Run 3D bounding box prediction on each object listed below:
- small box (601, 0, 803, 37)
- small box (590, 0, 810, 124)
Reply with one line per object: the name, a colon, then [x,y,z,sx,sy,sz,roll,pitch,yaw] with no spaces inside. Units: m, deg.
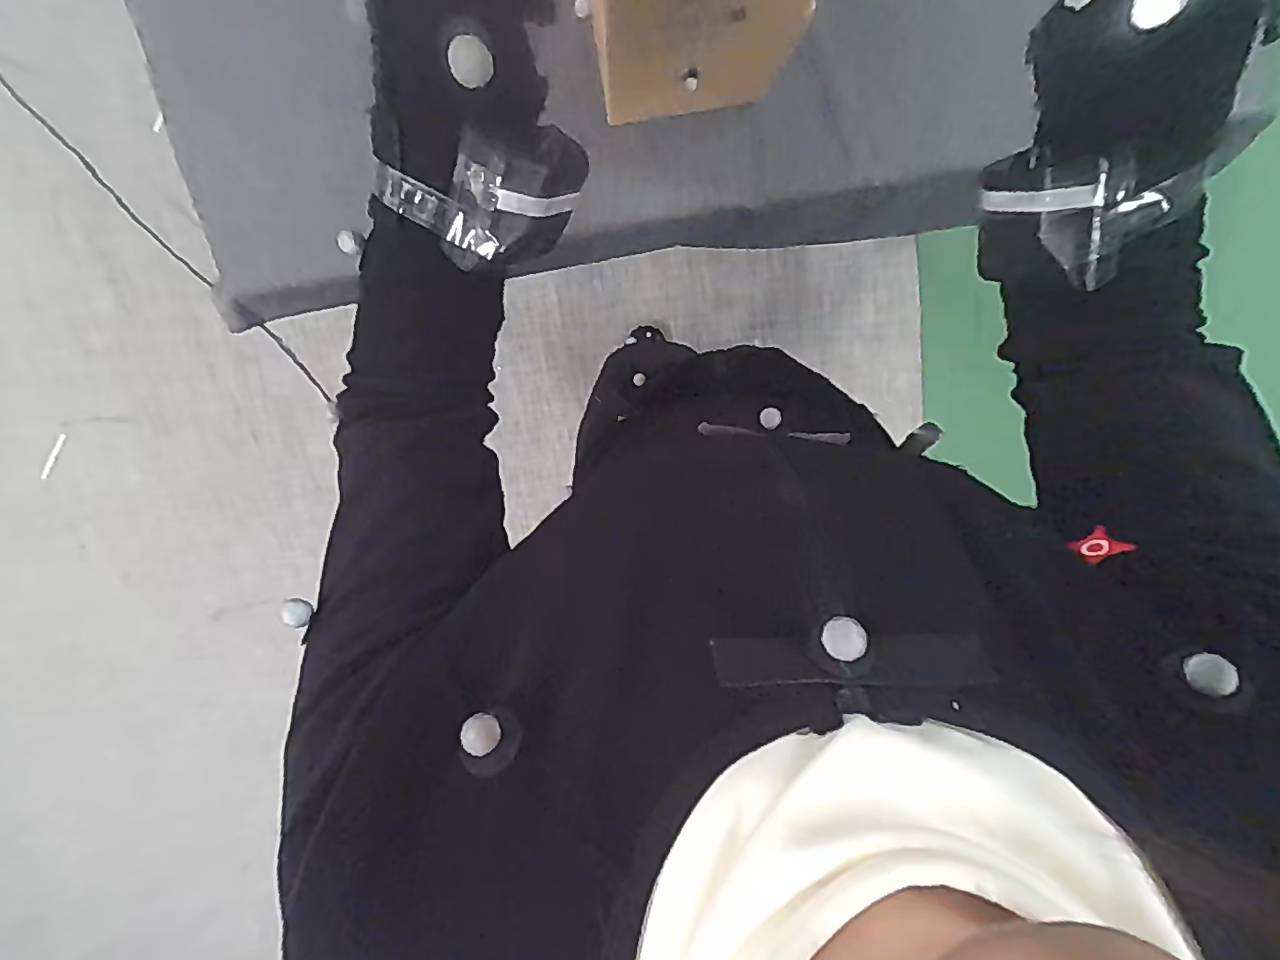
small box: [0.042,-0.428,0.347,0.168,0.176,0.179,-10,104,1]
small box: [0.042,-0.466,0.506,0.179,0.176,0.168,-9,103,1]
